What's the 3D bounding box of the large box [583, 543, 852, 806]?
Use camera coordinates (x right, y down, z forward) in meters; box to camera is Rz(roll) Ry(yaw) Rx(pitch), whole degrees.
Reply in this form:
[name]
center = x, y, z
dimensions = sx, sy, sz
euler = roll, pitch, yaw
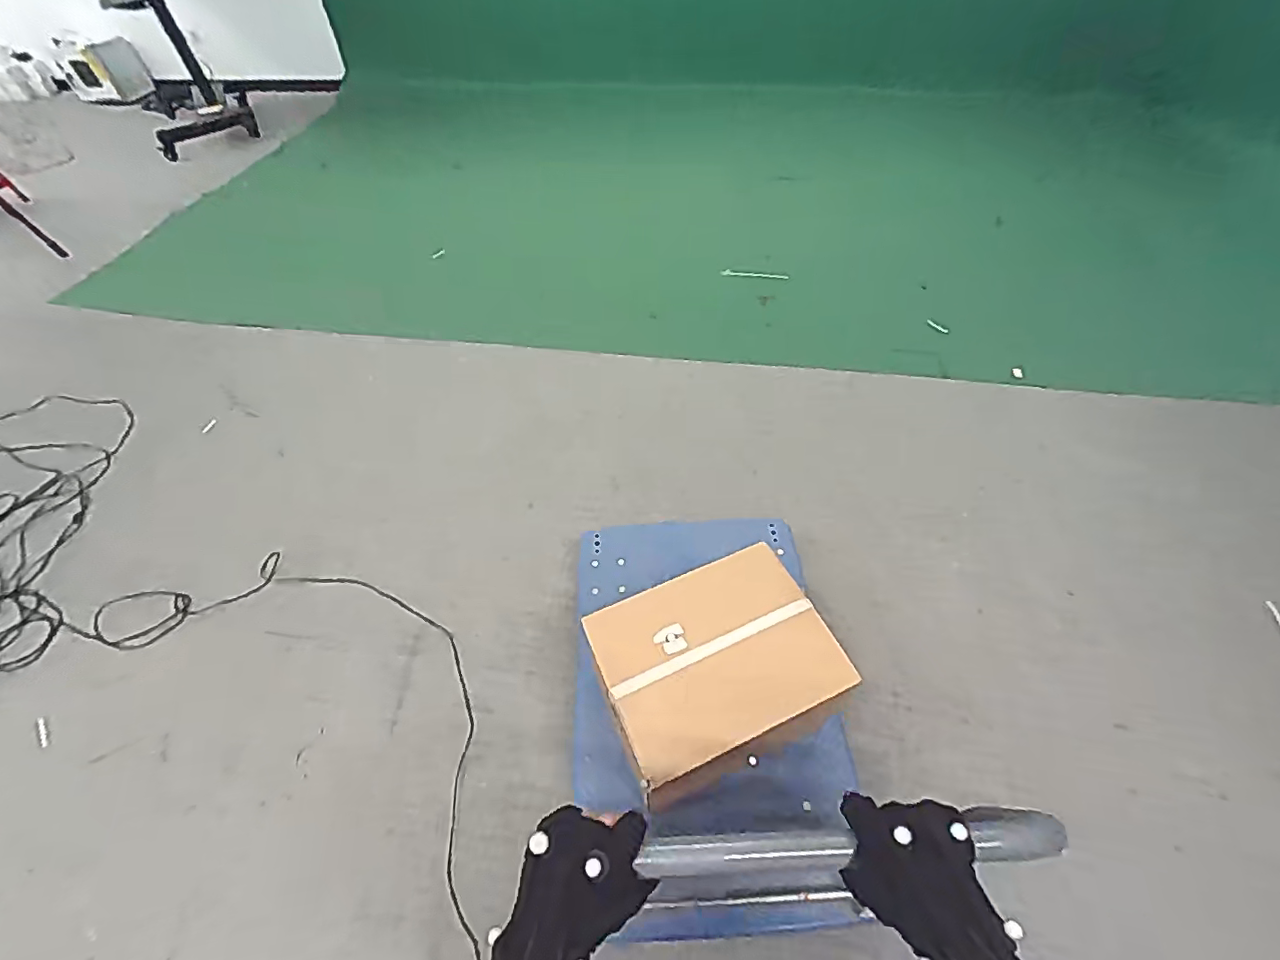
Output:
[large box]
center = 0.139, 0.394, 1.098
dimensions = 0.408, 0.320, 0.320
euler = -21, 54, -13
